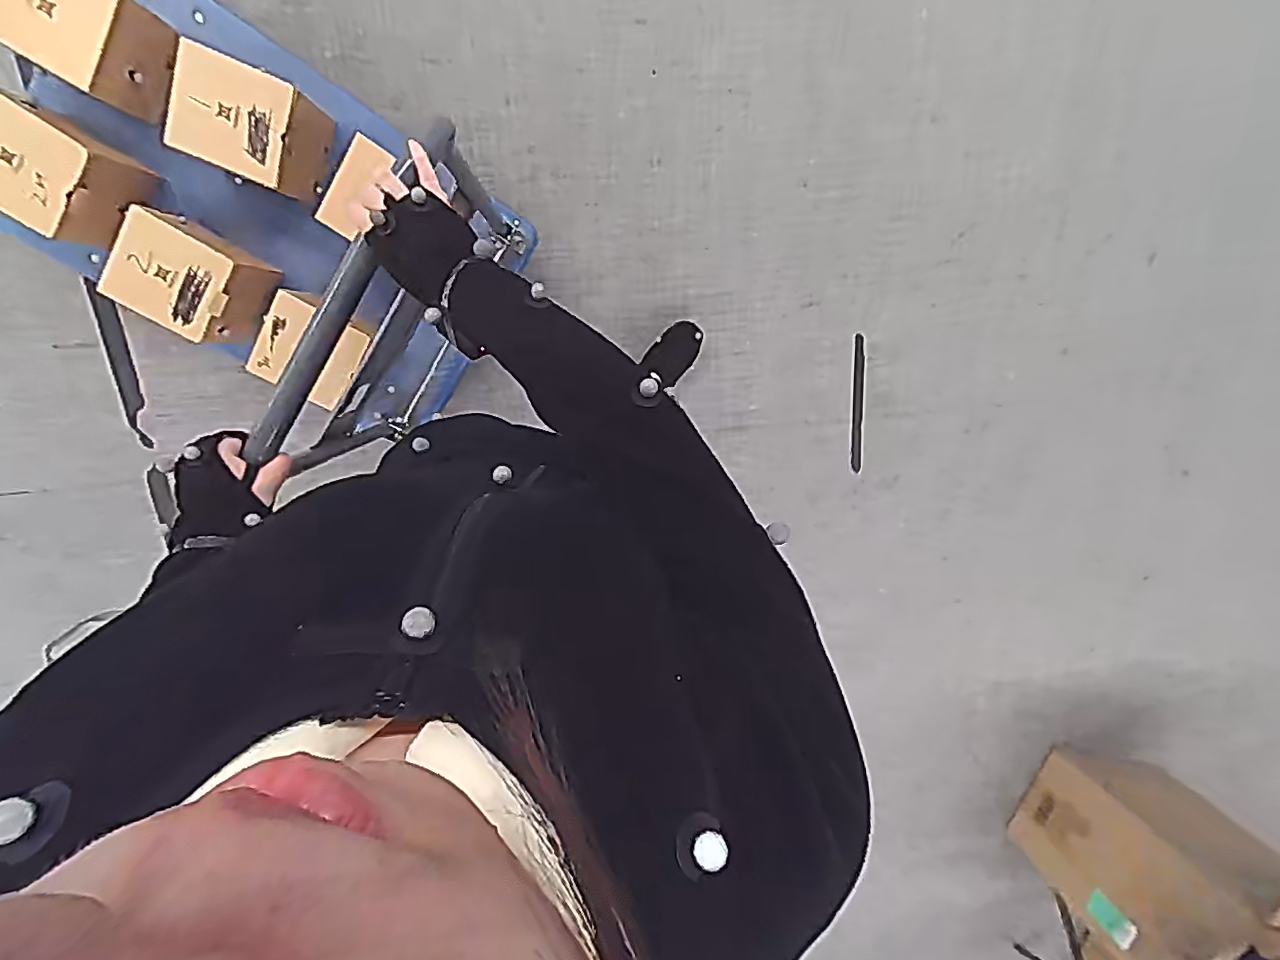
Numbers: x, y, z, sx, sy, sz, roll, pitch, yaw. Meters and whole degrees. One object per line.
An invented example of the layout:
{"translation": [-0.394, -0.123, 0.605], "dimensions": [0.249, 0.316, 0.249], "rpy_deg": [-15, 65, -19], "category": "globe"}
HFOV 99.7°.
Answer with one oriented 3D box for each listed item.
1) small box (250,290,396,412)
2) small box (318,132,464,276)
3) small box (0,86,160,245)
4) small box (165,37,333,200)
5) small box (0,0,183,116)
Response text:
{"translation": [-0.616, -0.258, 1.076], "dimensions": [0.179, 0.176, 0.168], "rpy_deg": [27, 99, -15], "category": "small box"}
{"translation": [-0.459, -0.507, 1.029], "dimensions": [0.179, 0.176, 0.168], "rpy_deg": [31, 99, -15], "category": "small box"}
{"translation": [-1.010, -0.533, 0.939], "dimensions": [0.179, 0.176, 0.168], "rpy_deg": [32, 100, -16], "category": "small box"}
{"translation": [-0.680, -0.623, 0.961], "dimensions": [0.179, 0.176, 0.168], "rpy_deg": [19, 103, -12], "category": "small box"}
{"translation": [-0.915, -0.743, 0.893], "dimensions": [0.179, 0.176, 0.168], "rpy_deg": [28, 101, -15], "category": "small box"}
